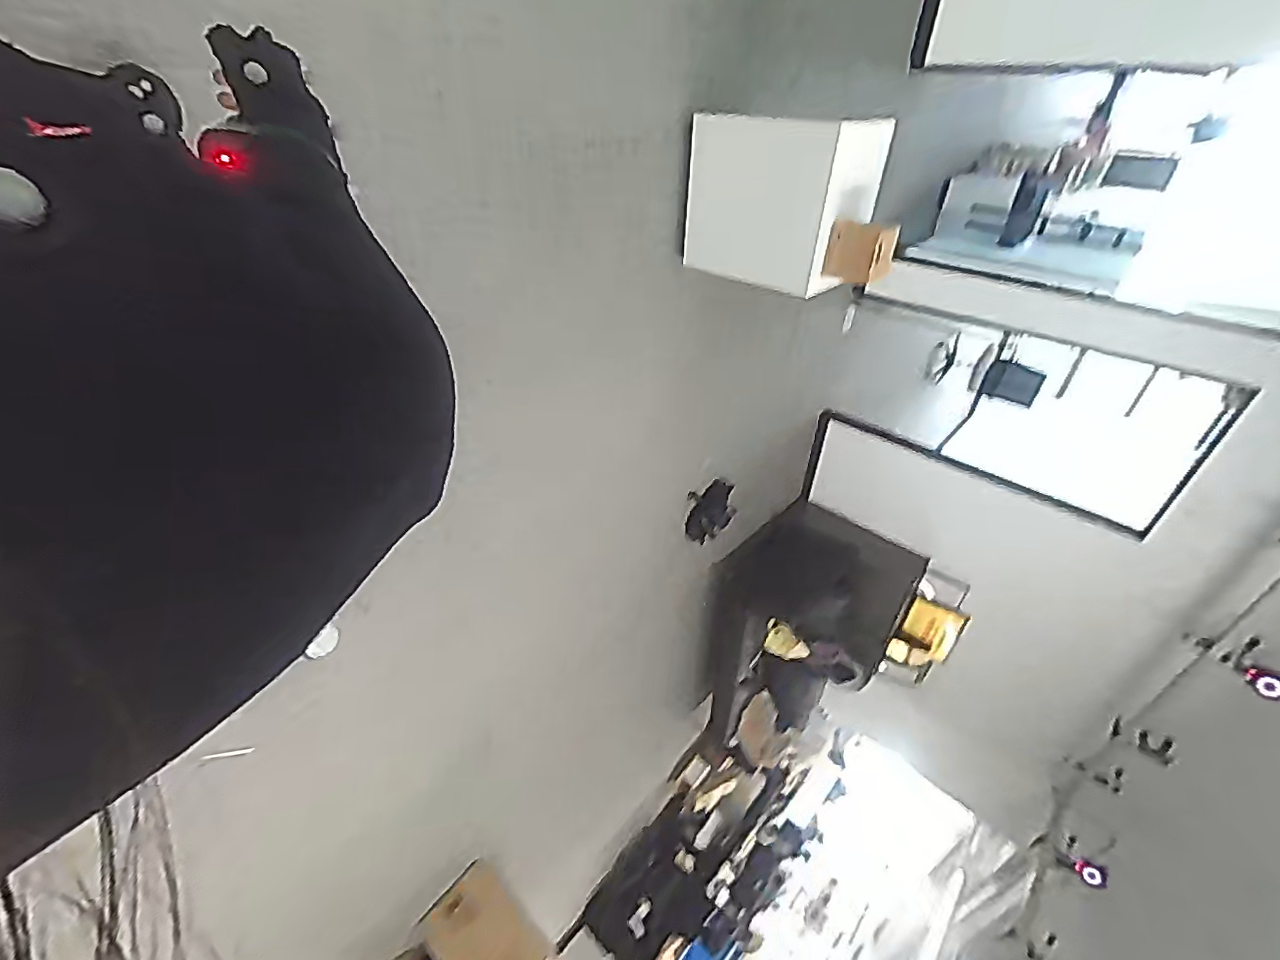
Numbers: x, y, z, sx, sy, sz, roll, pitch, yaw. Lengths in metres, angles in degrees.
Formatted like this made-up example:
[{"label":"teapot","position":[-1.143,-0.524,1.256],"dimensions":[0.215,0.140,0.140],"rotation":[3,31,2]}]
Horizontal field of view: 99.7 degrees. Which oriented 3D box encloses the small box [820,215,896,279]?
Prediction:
[{"label":"small box","position":[0.736,-0.796,1.837],"dimensions":[0.179,0.176,0.168],"rotation":[-32,137,-38]}]
